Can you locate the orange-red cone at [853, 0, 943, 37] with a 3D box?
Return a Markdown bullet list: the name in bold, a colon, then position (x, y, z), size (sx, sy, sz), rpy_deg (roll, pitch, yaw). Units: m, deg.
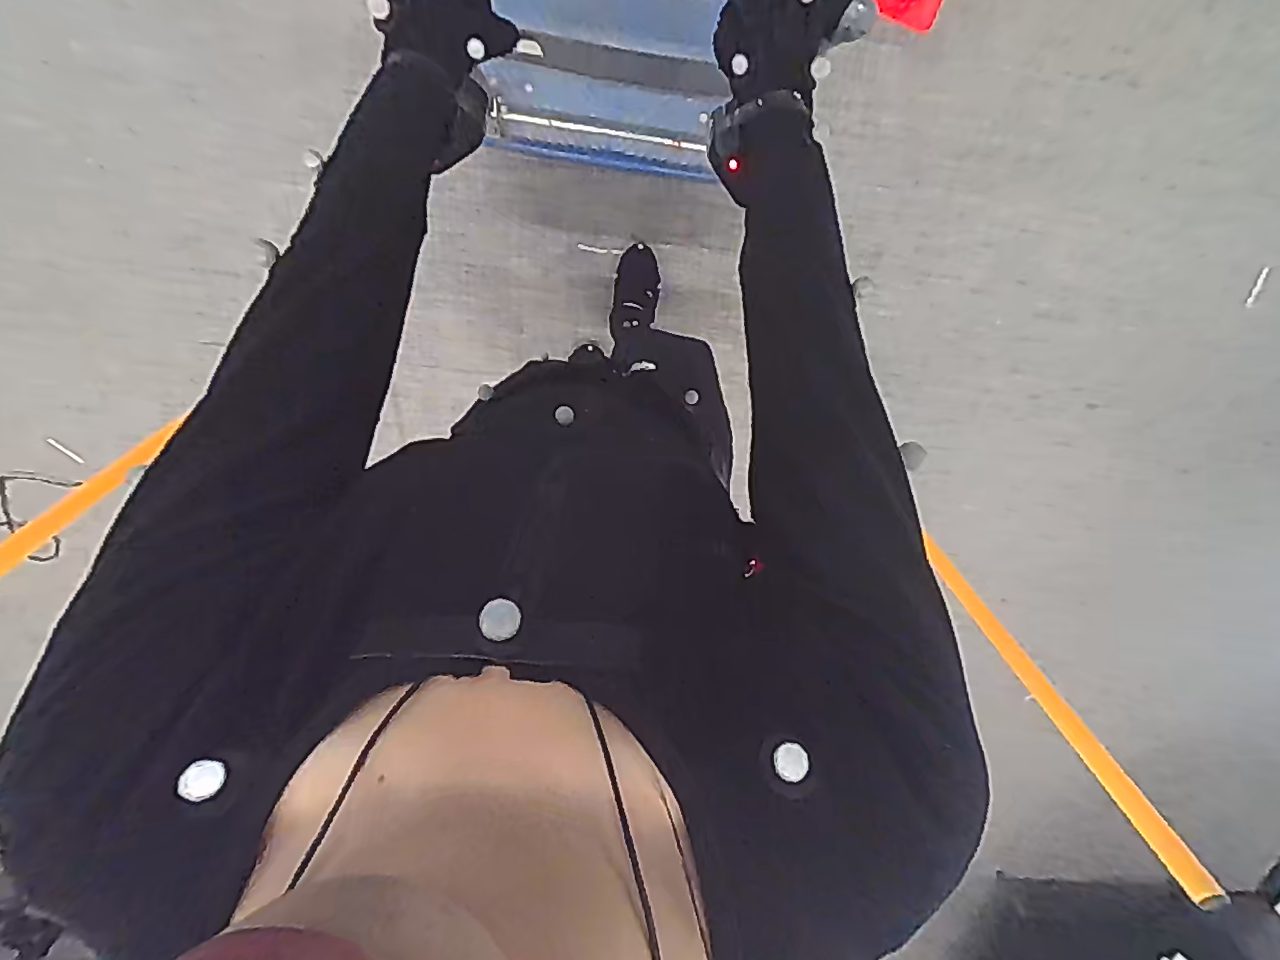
- **orange-red cone**: position (0.582, -1.031, 1.002), size (0.198, 0.360, 0.199), rpy_deg (16, 111, -8)
